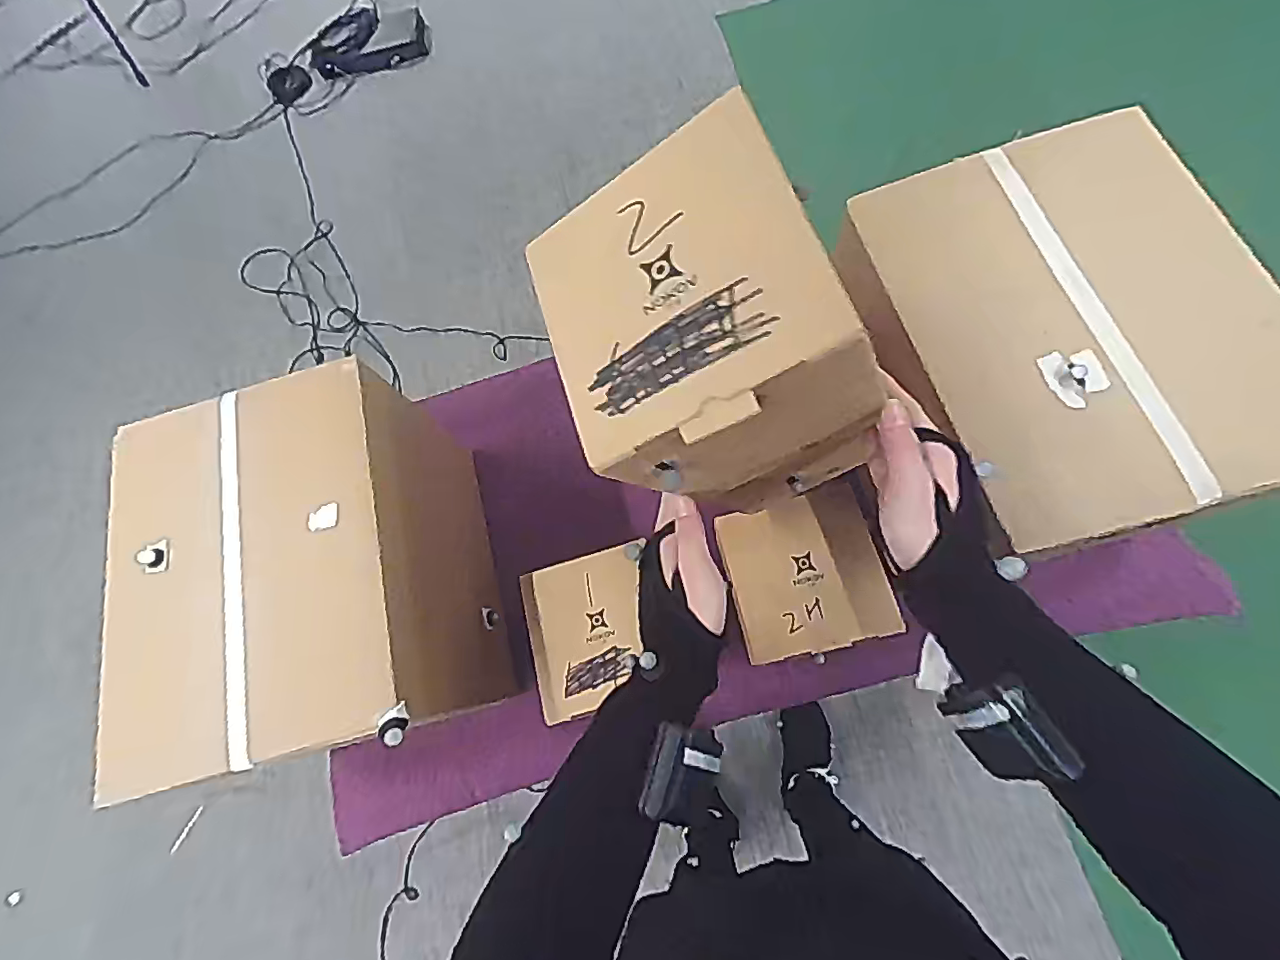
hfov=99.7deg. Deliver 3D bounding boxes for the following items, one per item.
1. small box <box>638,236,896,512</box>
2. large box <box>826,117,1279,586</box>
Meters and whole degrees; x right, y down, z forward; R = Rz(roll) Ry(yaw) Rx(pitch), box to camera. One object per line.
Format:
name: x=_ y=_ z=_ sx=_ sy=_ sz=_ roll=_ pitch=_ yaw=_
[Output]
small box: x=0.127 y=-0.084 z=0.524 sx=0.168 sy=0.176 sz=0.179 roll=-29 pitch=70 yaw=20
large box: x=0.439 y=-0.117 z=0.651 sx=0.320 sy=0.320 sz=0.408 roll=-16 pitch=72 yaw=4
